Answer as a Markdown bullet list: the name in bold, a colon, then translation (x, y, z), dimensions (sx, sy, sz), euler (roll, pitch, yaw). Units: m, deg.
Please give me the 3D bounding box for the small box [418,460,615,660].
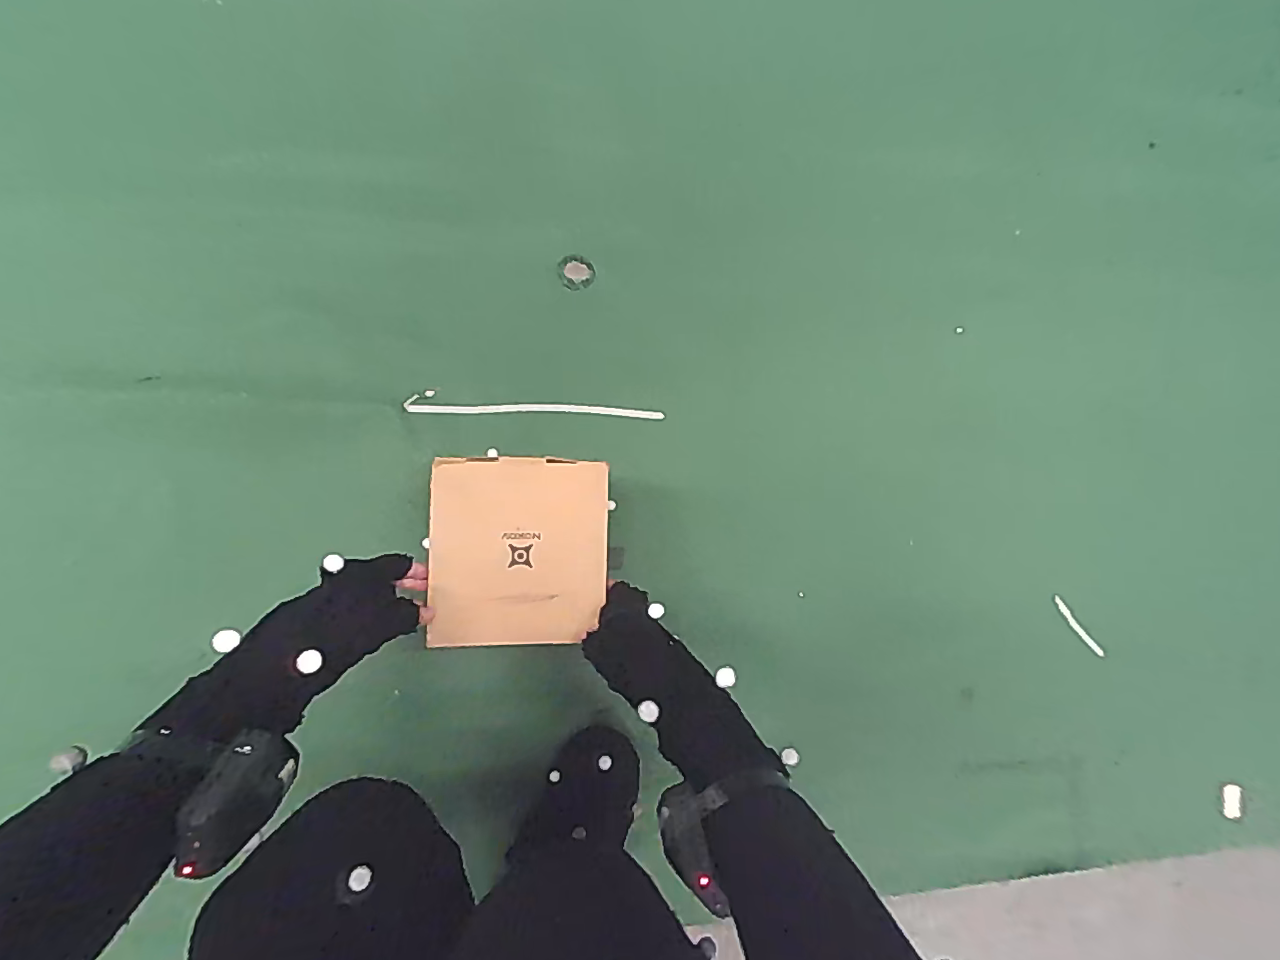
- **small box**: translation (-0.119, 0.078, 0.567), dimensions (0.168, 0.176, 0.179), euler (3, 87, -7)
